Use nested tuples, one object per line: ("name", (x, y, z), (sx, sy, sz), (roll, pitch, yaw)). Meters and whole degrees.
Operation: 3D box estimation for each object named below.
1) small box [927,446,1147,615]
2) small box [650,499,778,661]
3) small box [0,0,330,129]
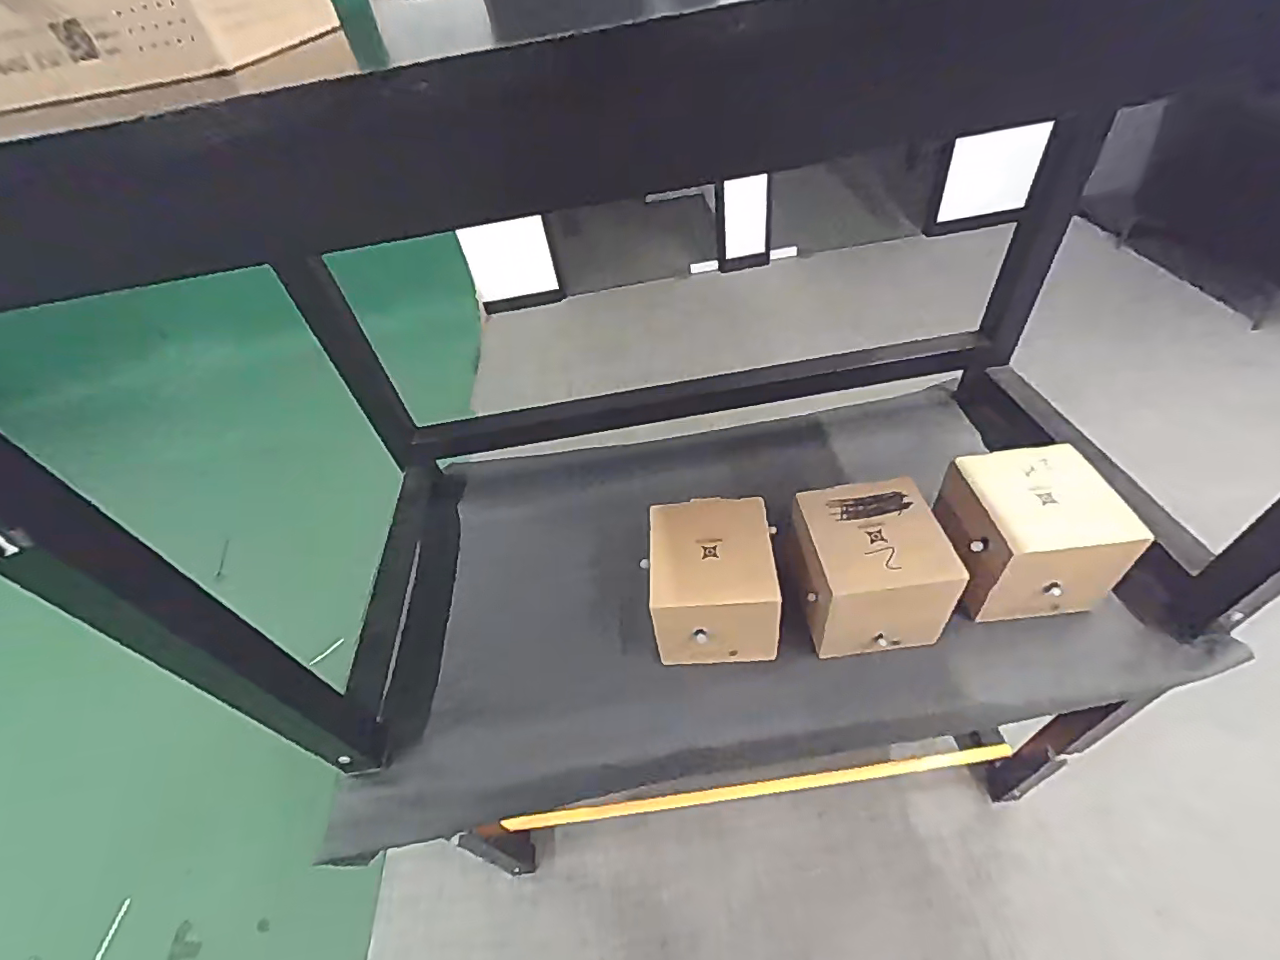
("small box", (0.541, 0.079, 0.772), (0.168, 0.176, 0.179), (-7, 45, 4))
("small box", (0.107, 0.151, 0.790), (0.168, 0.176, 0.179), (-5, 45, 6))
("small box", (-0.293, -0.297, 0.271), (0.168, 0.176, 0.179), (-9, 46, 2))
